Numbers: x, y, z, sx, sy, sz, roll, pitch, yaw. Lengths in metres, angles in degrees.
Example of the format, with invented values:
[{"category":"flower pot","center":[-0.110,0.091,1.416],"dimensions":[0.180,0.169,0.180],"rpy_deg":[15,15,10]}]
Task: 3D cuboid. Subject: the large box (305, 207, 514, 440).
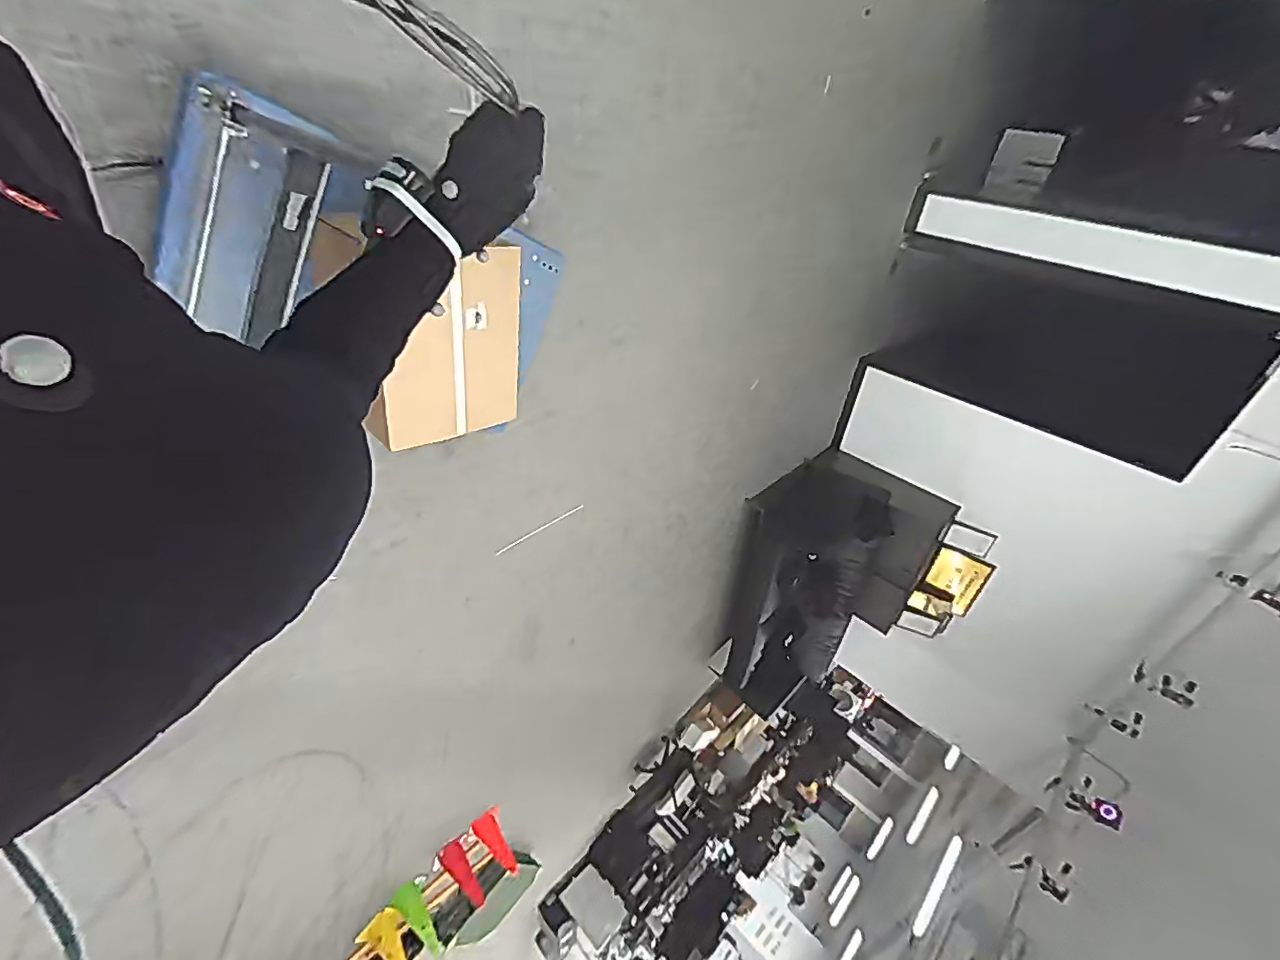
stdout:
[{"category":"large box","center":[-0.497,-0.359,1.208],"dimensions":[0.320,0.320,0.408],"rpy_deg":[-23,135,-41]}]
